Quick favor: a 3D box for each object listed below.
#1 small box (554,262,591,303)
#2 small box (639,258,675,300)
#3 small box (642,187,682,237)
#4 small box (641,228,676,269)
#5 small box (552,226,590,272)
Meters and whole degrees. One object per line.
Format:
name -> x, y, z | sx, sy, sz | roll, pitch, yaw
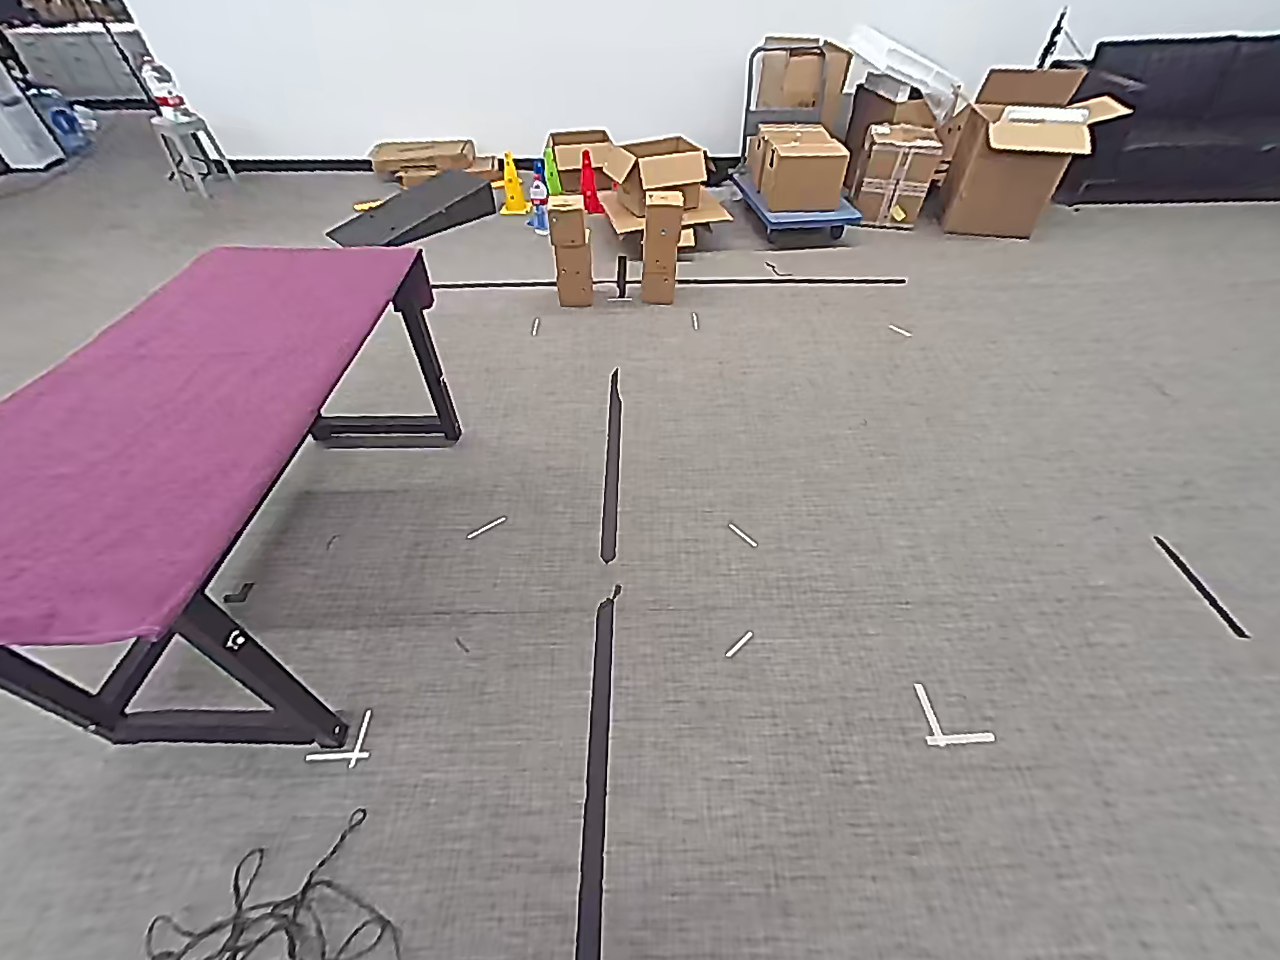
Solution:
small box -> -0.346, -1.037, 2.814 | 0.179, 0.176, 0.168 | -3, 46, -2
small box -> 0.090, -1.063, 2.840 | 0.179, 0.176, 0.168 | 3, 47, 2
small box -> 0.104, -1.288, 2.604 | 0.179, 0.176, 0.168 | 2, 48, -1
small box -> 0.091, -1.183, 2.730 | 0.168, 0.176, 0.179 | 0, 48, -2
small box -> -0.340, -1.149, 2.694 | 0.168, 0.176, 0.179 | 0, 46, -1
